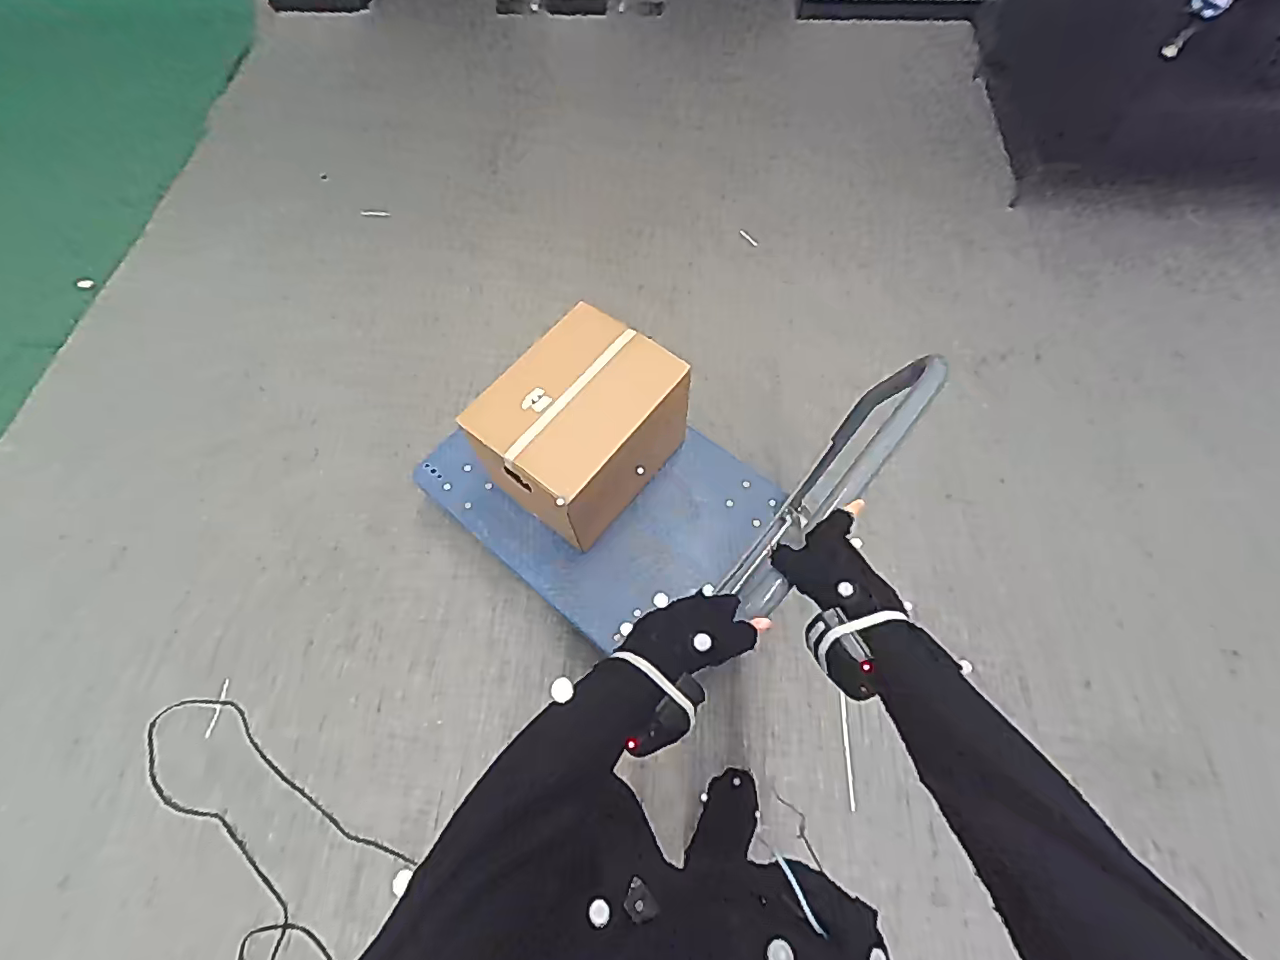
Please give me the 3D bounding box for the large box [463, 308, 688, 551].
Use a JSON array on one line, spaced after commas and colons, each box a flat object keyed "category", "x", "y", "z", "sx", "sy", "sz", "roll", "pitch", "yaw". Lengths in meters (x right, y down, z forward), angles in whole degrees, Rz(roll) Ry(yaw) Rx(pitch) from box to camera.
[{"category": "large box", "x": -0.124, "y": -0.110, "z": 1.270, "sx": 0.320, "sy": 0.320, "sz": 0.408, "roll": 34, "pitch": 71, "yaw": 18}]
